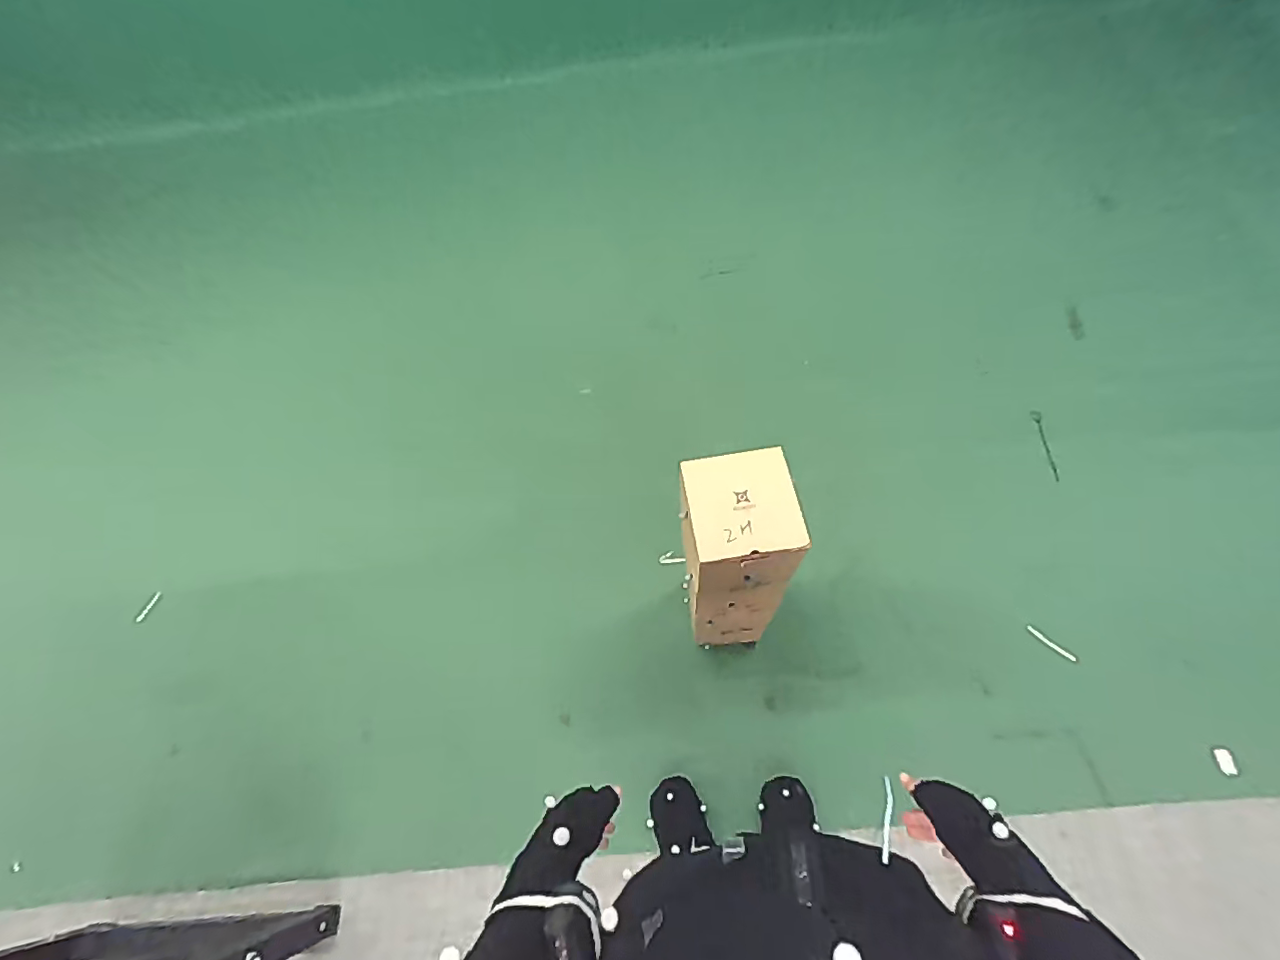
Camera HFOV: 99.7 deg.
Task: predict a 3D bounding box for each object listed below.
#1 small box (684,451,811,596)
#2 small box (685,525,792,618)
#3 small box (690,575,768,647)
[{"bbox_3d":[0.166,0.076,0.902,0.168,0.176,0.179,-9,62,1],"label":"small box"},{"bbox_3d":[0.180,0.154,1.046,0.168,0.176,0.179,-8,62,1],"label":"small box"},{"bbox_3d":[0.214,0.309,1.333,0.168,0.176,0.179,-5,62,3],"label":"small box"}]
